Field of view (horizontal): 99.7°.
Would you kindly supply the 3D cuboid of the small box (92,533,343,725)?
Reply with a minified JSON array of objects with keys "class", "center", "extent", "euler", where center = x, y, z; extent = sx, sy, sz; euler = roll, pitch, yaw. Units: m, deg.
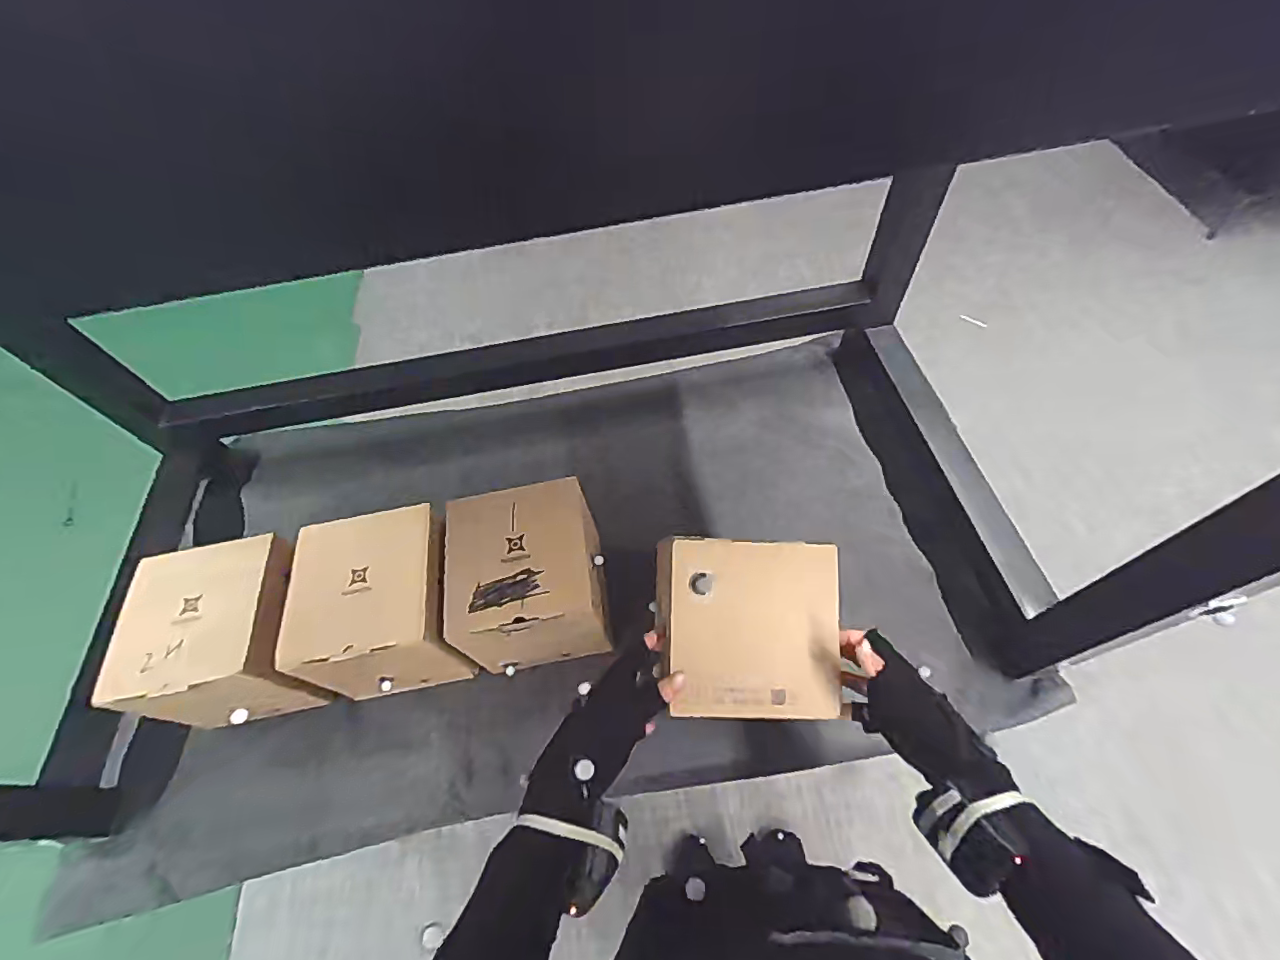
[{"class":"small box","center":[-0.506,0.192,0.684],"extent":[0.168,0.176,0.179],"euler":[-11,57,-1]}]
